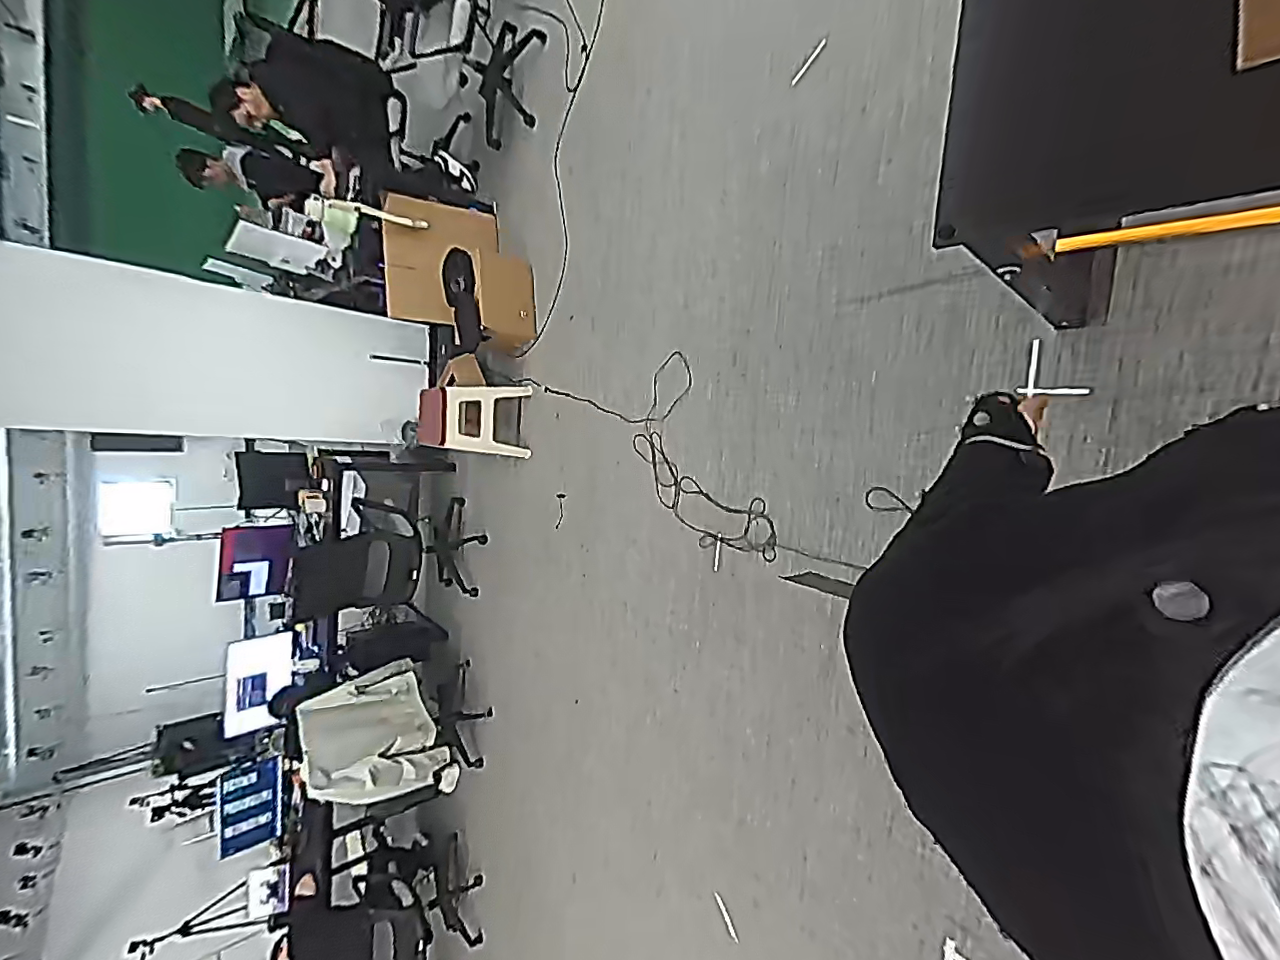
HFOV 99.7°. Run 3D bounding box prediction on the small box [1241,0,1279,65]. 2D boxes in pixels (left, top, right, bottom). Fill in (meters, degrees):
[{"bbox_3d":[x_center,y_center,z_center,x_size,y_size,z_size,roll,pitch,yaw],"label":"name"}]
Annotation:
[{"bbox_3d":[0.600,-0.488,0.423,0.168,0.176,0.179,4,95,48],"label":"small box"}]
